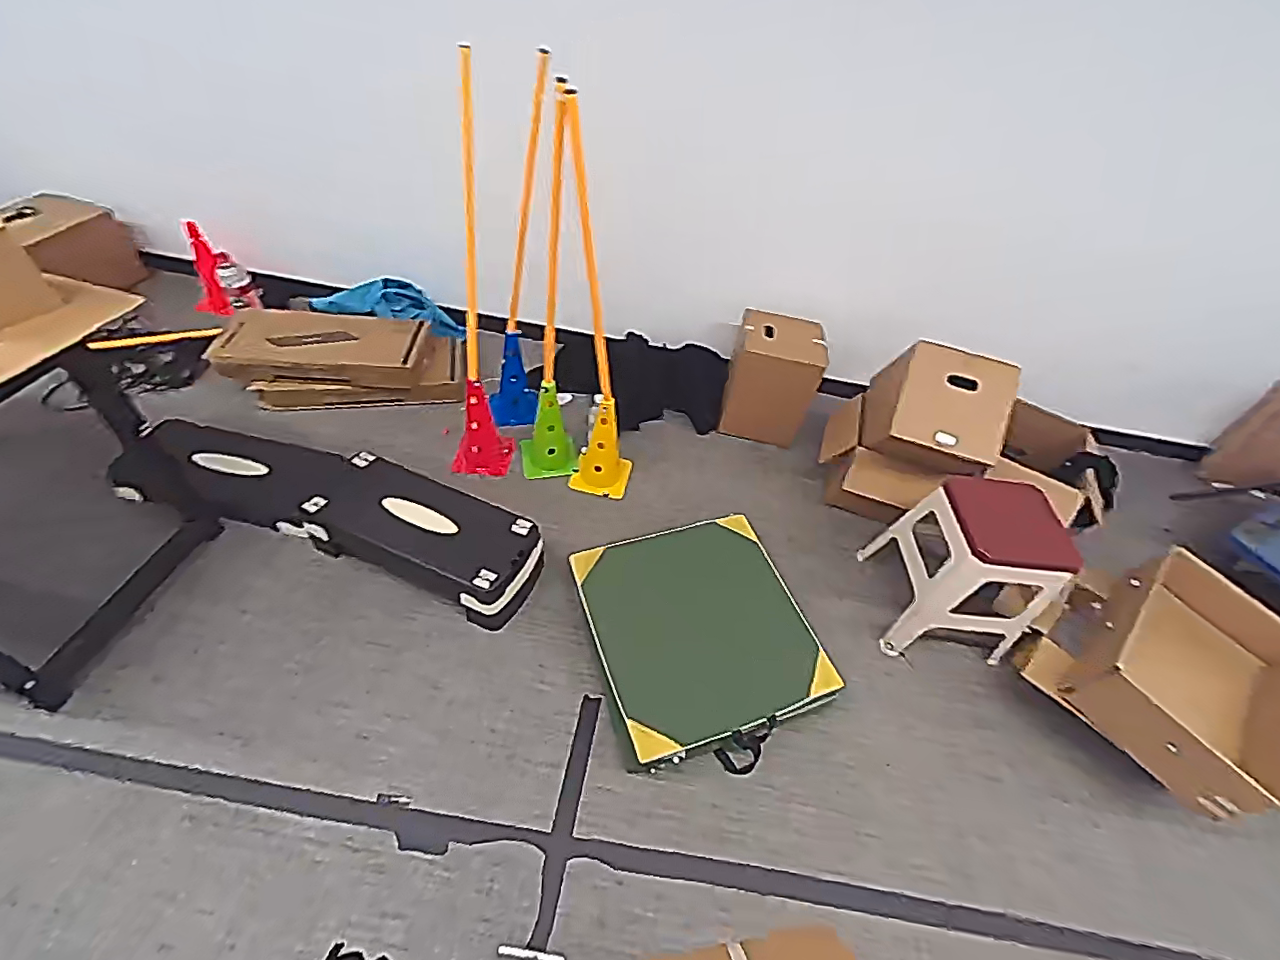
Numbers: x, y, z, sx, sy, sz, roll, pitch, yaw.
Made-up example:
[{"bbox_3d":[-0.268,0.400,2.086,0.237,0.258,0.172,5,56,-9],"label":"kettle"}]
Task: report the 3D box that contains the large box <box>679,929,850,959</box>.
[{"bbox_3d":[0.189,0.833,0.617,0.320,0.408,0.320,-7,80,-8],"label":"large box"}]
